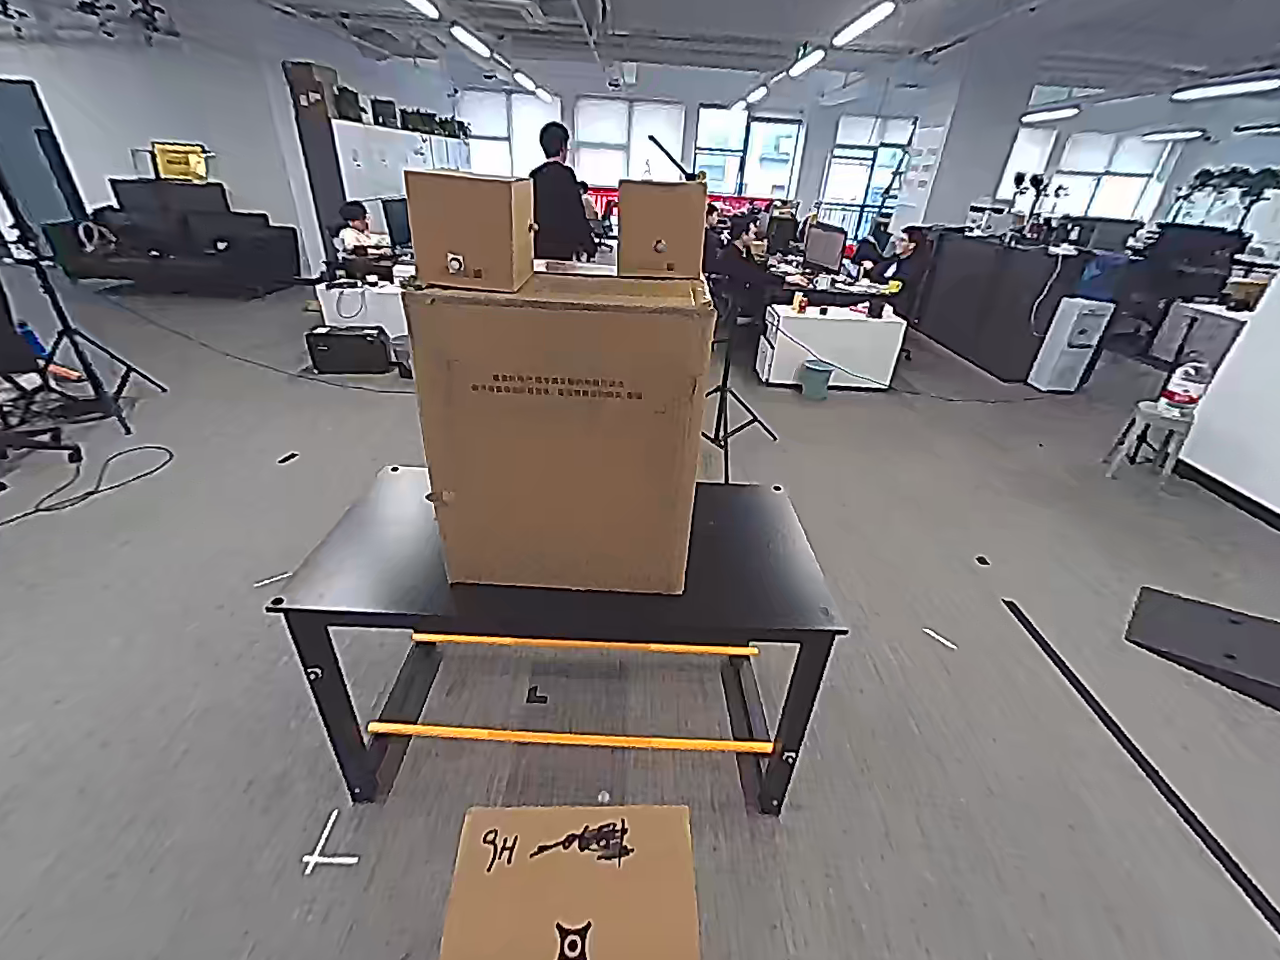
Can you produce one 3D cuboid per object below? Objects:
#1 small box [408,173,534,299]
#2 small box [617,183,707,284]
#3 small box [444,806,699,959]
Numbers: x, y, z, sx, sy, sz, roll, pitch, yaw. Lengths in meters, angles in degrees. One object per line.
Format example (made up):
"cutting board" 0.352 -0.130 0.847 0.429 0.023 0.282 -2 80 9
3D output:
"small box" -0.278 -0.422 0.930 0.168 0.176 0.179 4 31 -2
"small box" 0.039 -0.500 1.097 0.168 0.176 0.179 1 27 -1
"small box" -0.045 0.360 0.401 0.168 0.176 0.179 0 47 -3
